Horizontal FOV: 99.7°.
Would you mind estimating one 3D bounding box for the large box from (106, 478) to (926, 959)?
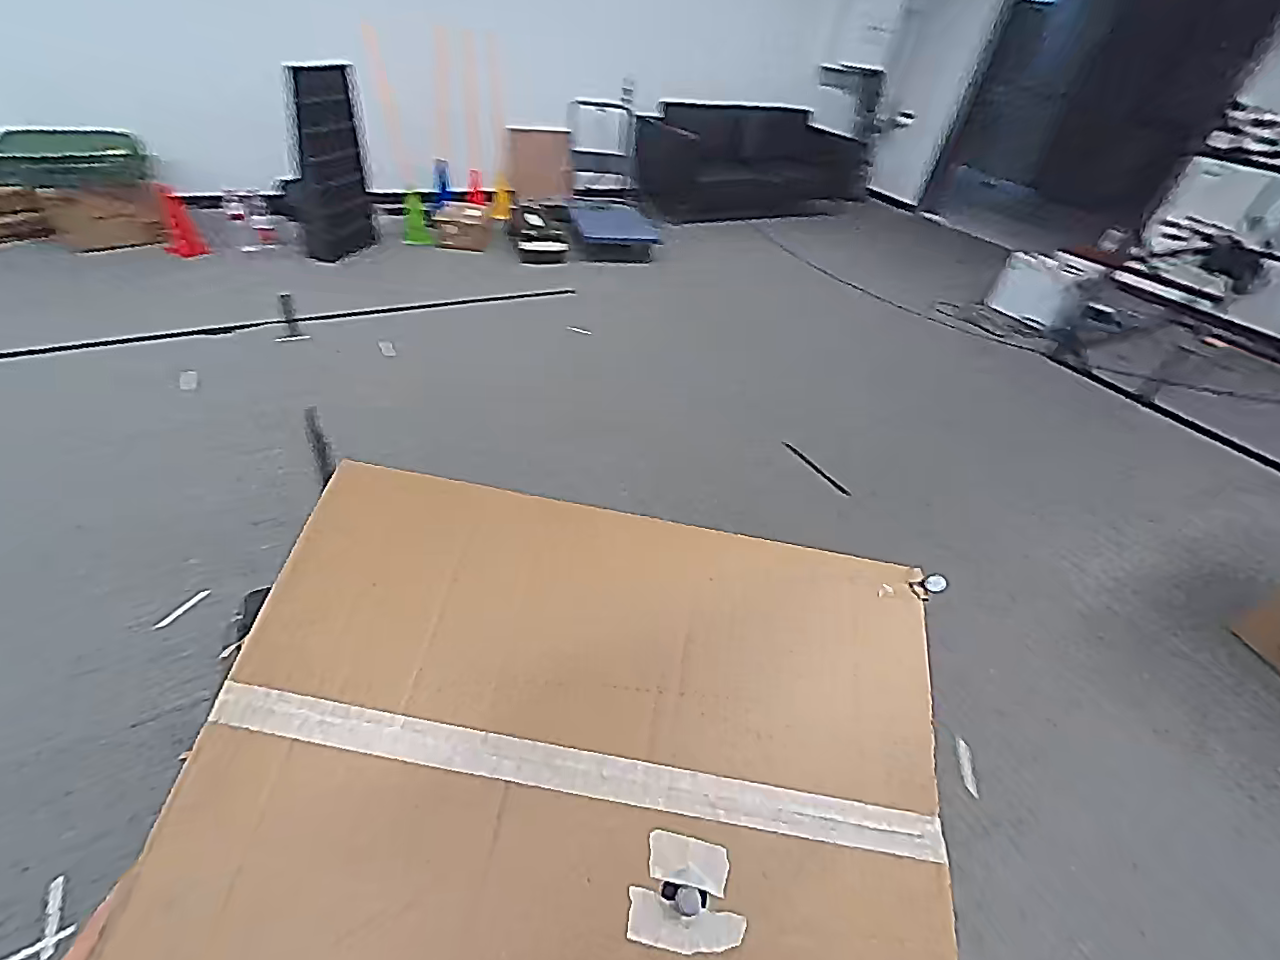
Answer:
[{"bbox_3d":[-0.053,0.229,0.438,0.408,0.320,0.320,10,63,0],"label":"large box"}]
